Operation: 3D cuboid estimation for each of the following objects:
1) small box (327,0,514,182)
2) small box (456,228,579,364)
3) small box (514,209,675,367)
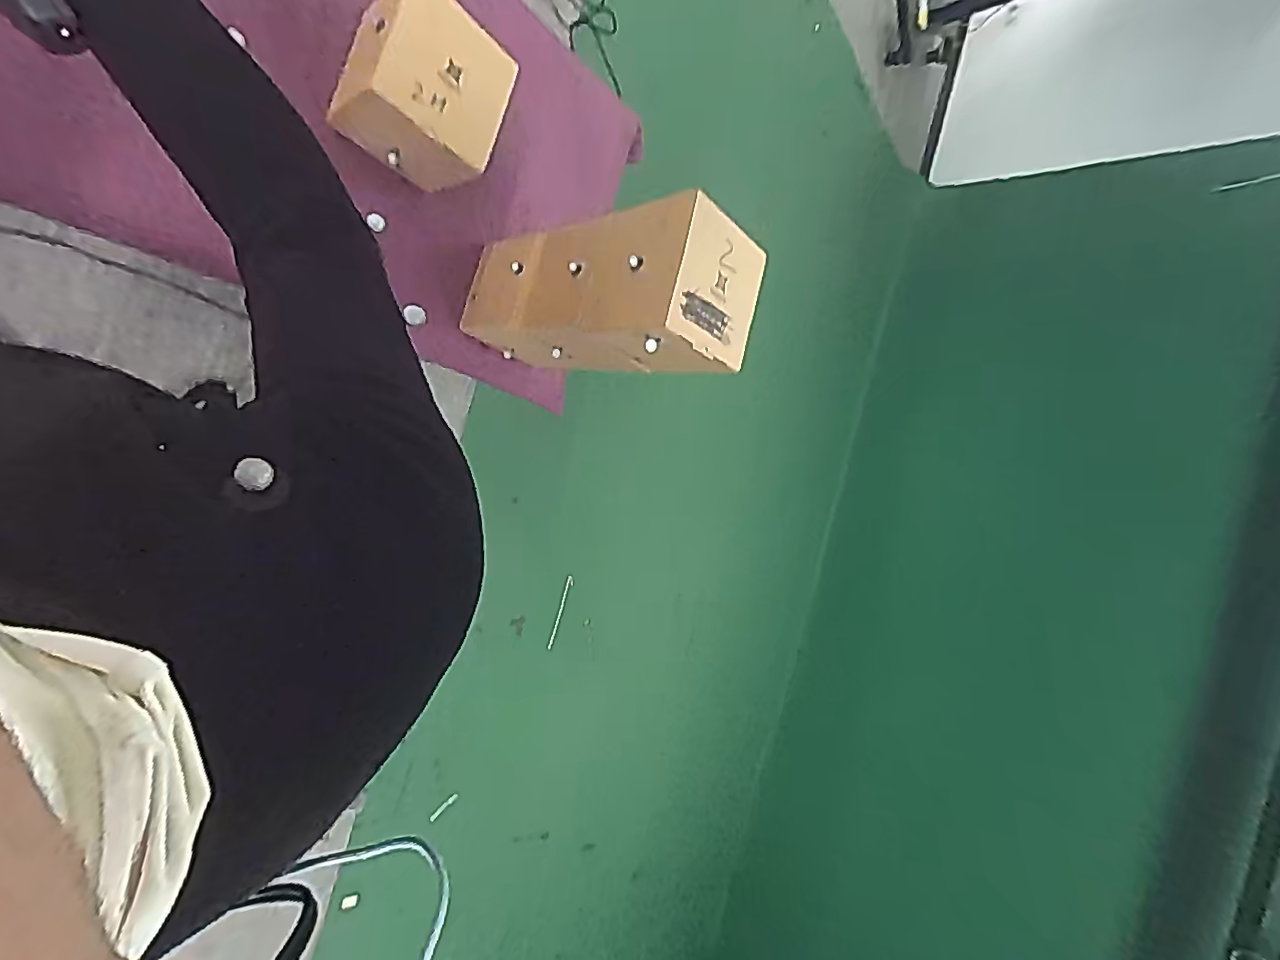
[{"bbox_3d":[-0.317,-0.566,0.775,0.168,0.176,0.179,22,86,-48],"label":"small box"},{"bbox_3d":[-0.196,-0.324,0.976,0.179,0.176,0.168,21,84,-48],"label":"small box"},{"bbox_3d":[-0.076,-0.297,0.869,0.168,0.176,0.179,21,85,-46],"label":"small box"}]
